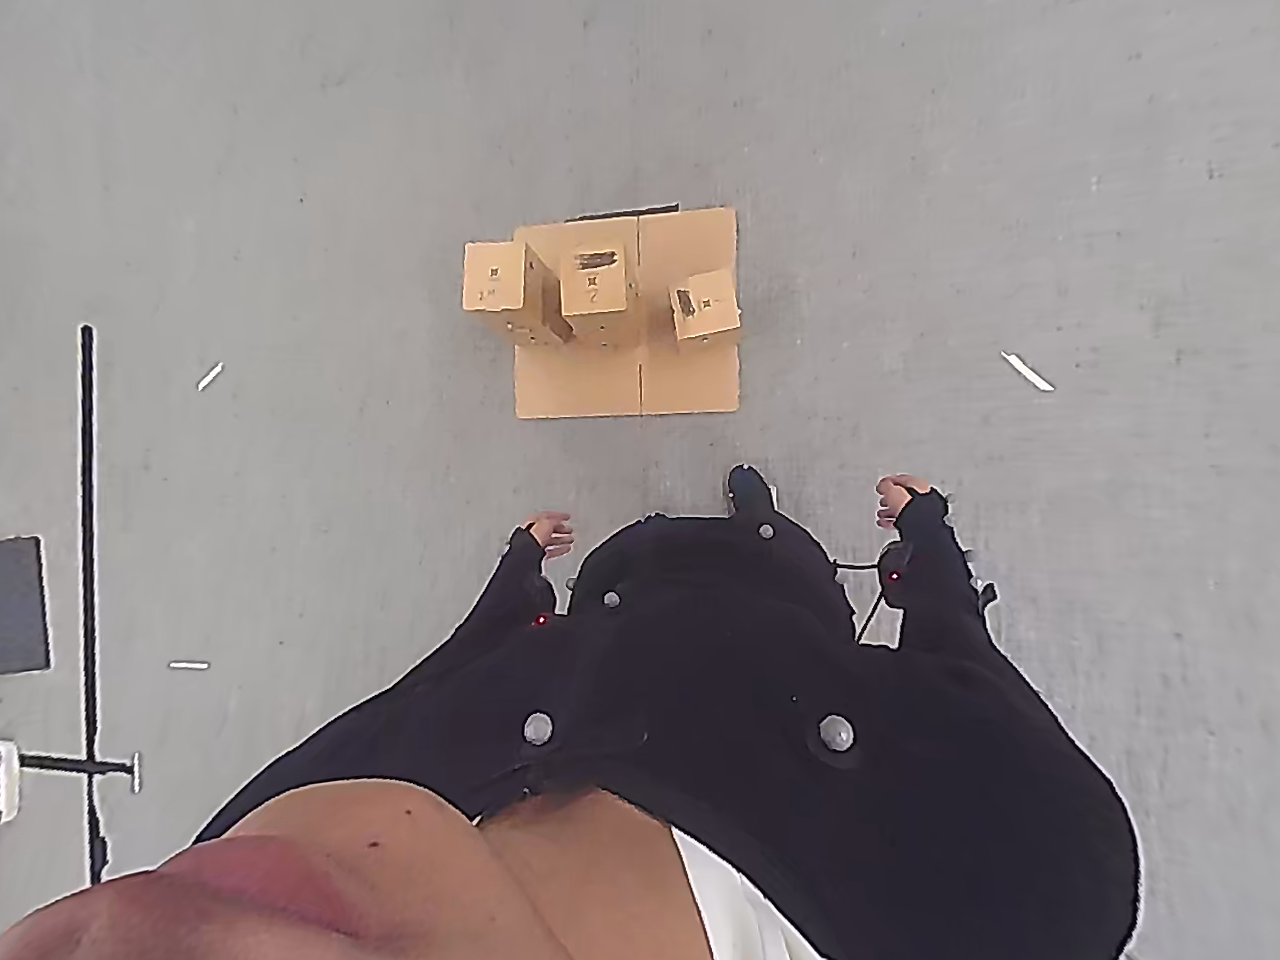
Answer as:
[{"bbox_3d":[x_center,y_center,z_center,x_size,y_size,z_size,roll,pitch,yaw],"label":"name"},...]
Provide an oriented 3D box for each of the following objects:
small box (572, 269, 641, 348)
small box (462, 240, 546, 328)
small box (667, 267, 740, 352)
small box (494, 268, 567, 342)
[{"bbox_3d":[-0.092,-0.492,1.565,0.168,0.176,0.179,3,90,9],"label":"small box"},{"bbox_3d":[-0.356,-0.517,1.440,0.168,0.176,0.179,2,90,10],"label":"small box"},{"bbox_3d":[0.182,-0.470,1.521,0.179,0.176,0.168,-10,88,9],"label":"small box"},{"bbox_3d":[-0.319,-0.509,1.601,0.168,0.176,0.179,1,91,10],"label":"small box"}]
